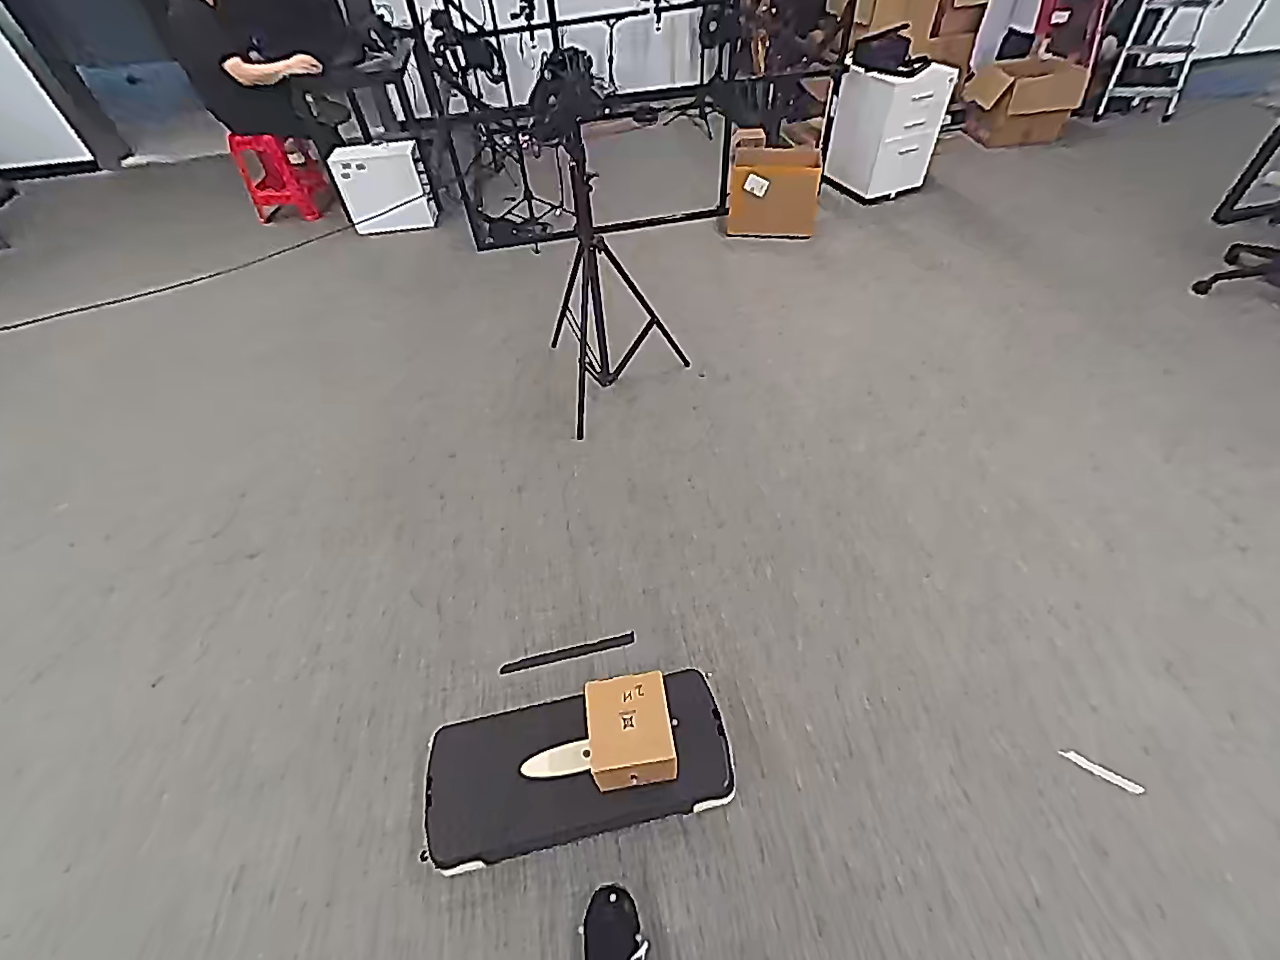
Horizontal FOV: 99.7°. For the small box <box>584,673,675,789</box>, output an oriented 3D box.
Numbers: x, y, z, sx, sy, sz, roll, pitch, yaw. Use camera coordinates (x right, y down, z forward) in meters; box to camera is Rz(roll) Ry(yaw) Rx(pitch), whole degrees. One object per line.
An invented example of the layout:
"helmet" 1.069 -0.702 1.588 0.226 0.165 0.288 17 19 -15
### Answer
"small box" -0.020 0.531 1.136 0.168 0.176 0.179 -8 48 -3
